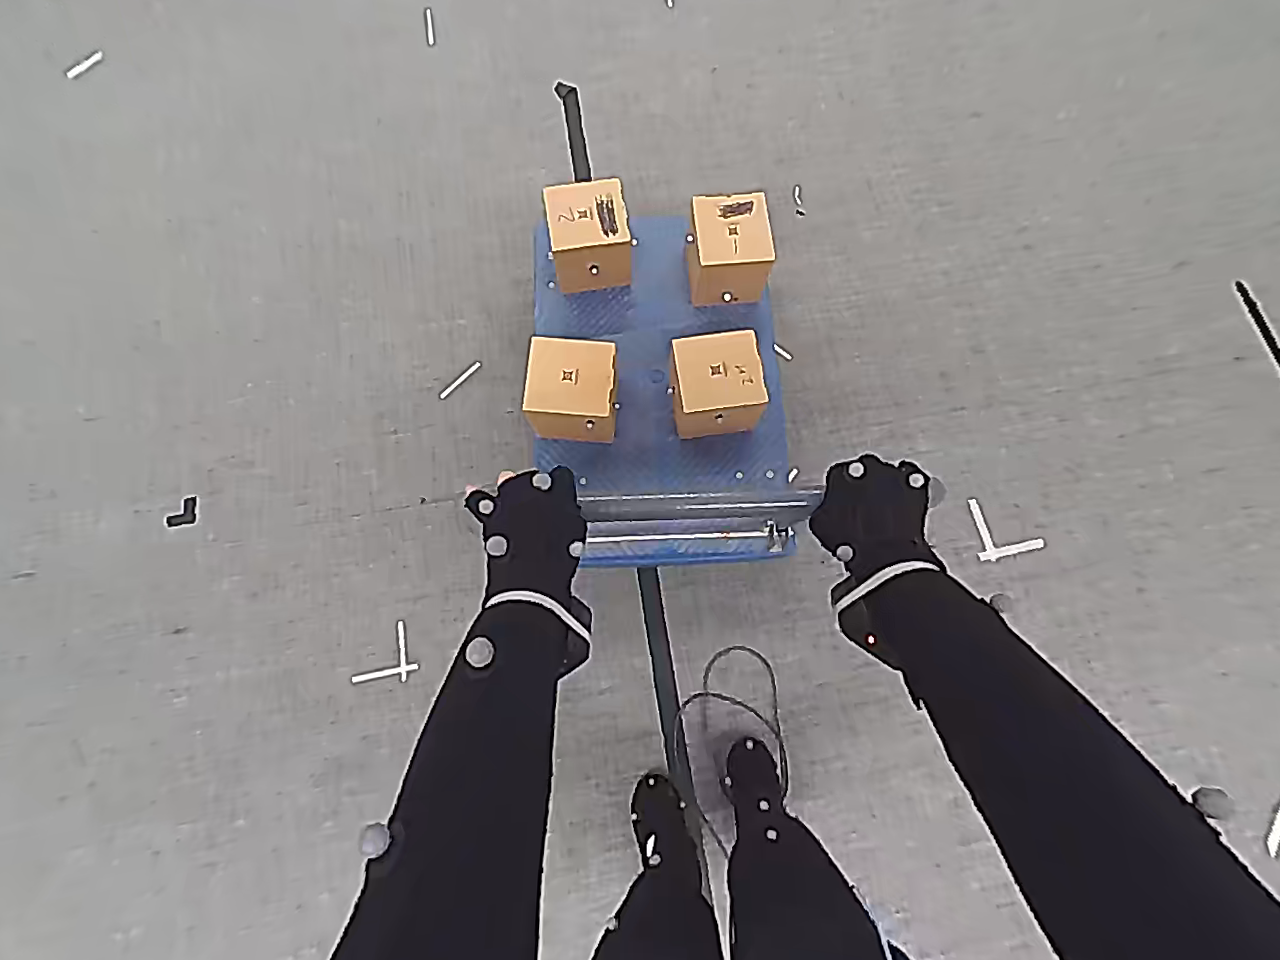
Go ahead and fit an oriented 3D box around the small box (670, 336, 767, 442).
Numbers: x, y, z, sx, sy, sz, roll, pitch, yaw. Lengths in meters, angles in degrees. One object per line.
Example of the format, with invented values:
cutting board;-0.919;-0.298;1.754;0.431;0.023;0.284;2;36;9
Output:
small box;0.161;-0.192;1.181;0.179;0.176;0.168;-7;76;-2

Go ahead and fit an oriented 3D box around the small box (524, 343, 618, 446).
small box;-0.142;-0.179;1.176;0.179;0.176;0.168;4;76;-1

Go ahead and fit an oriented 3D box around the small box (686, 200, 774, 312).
small box;0.202;-0.519;1.265;0.168;0.176;0.179;-5;77;-2
